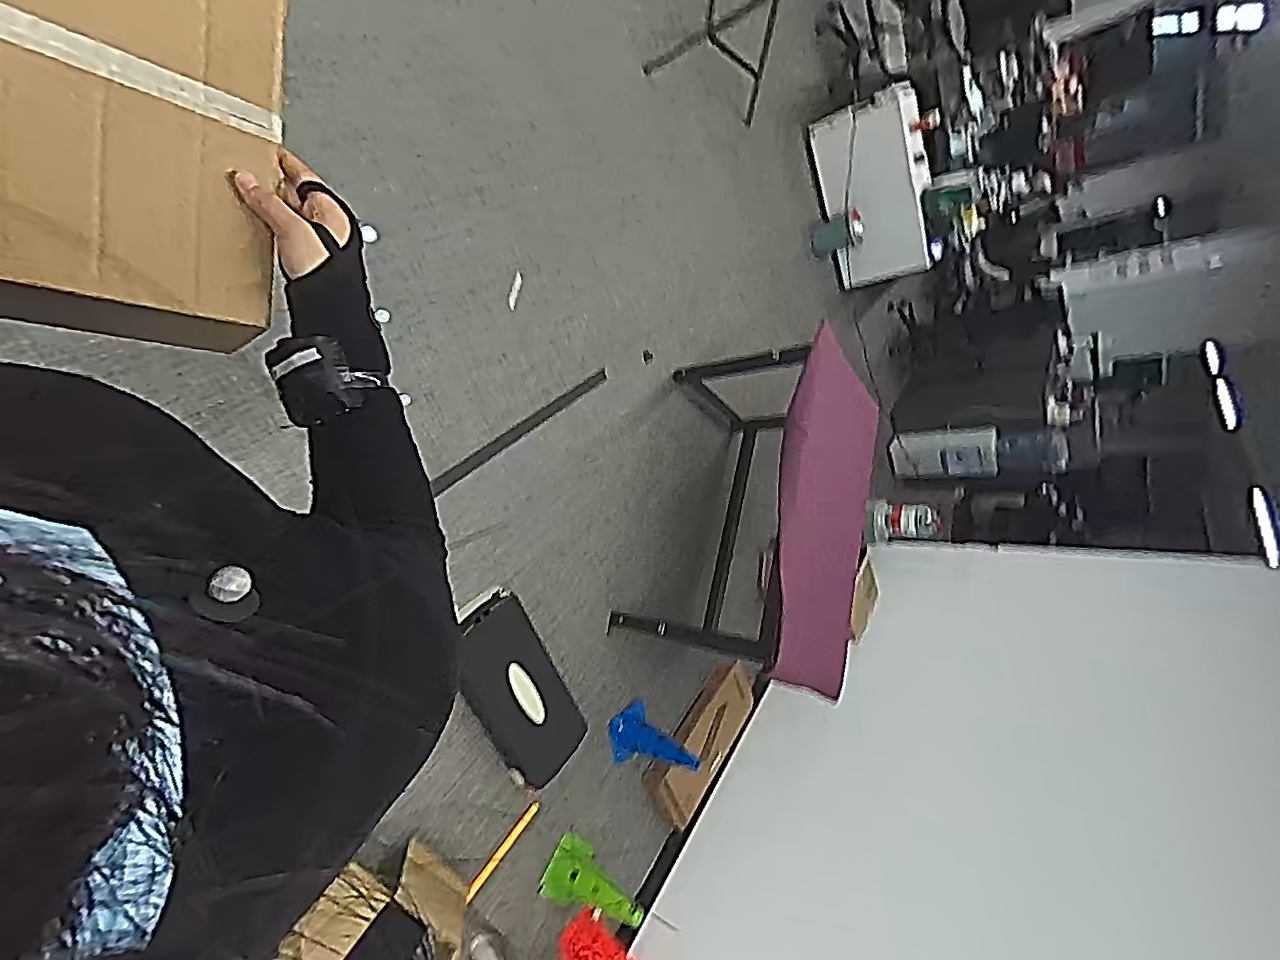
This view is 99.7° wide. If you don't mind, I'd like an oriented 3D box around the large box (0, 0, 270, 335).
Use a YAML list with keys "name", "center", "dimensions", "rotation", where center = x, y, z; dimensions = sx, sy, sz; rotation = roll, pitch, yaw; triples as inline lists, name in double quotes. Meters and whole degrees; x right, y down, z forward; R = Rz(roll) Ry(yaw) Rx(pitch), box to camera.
- name: "large box"
  center: [-0.551, -0.309, 0.425]
  dimensions: [0.408, 0.320, 0.320]
  rotation: [1, 95, -42]
